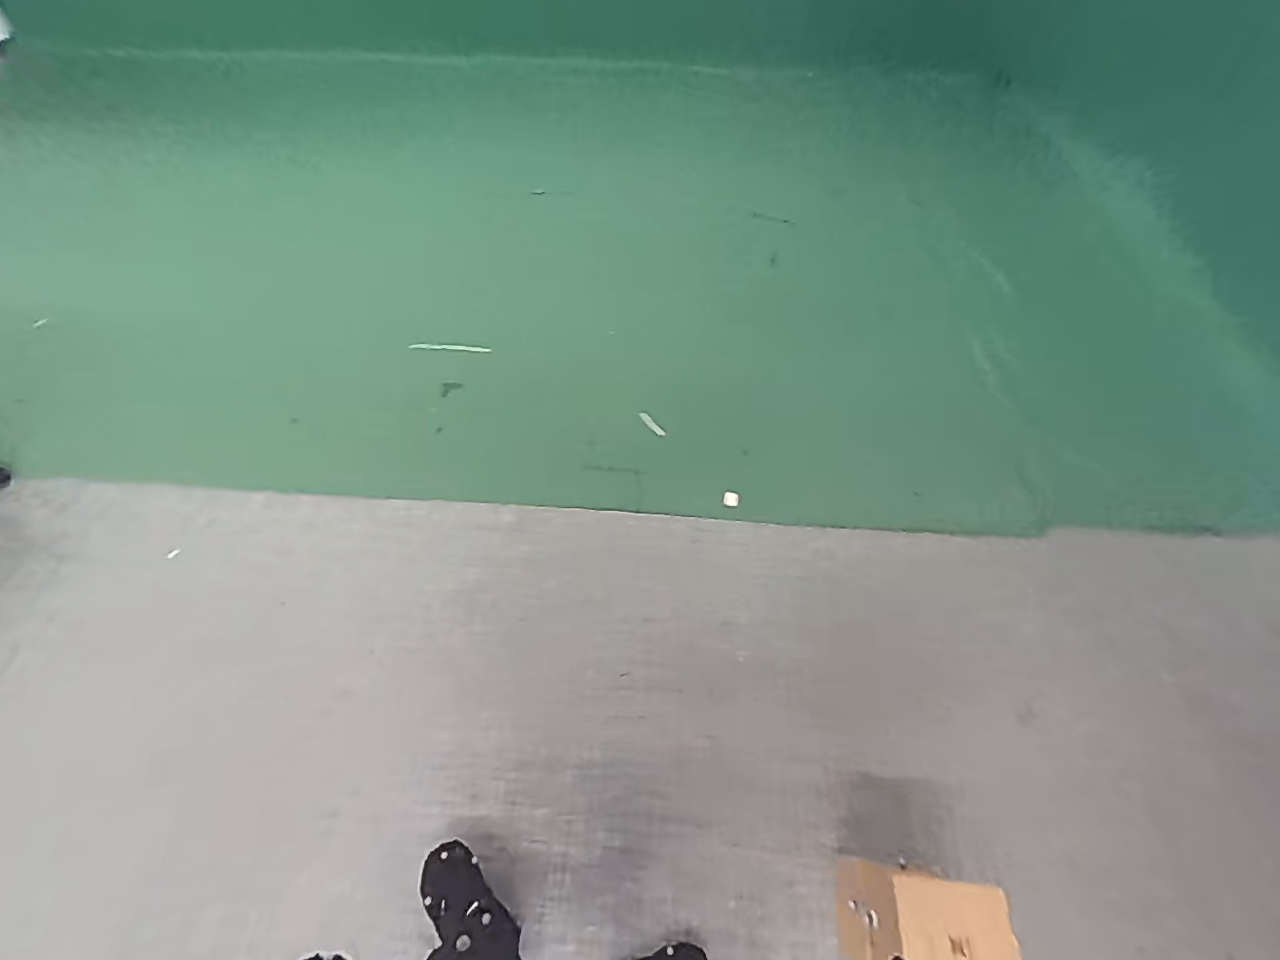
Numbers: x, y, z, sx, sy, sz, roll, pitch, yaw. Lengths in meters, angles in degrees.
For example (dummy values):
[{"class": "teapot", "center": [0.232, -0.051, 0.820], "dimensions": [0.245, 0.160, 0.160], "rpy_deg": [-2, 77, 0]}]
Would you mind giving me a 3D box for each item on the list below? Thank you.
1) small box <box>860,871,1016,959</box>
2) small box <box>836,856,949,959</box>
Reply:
[{"class": "small box", "center": [0.487, 0.757, 0.894], "dimensions": [0.179, 0.176, 0.168], "rpy_deg": [4, 55, 4]}, {"class": "small box", "center": [0.484, 0.836, 1.035], "dimensions": [0.168, 0.176, 0.179], "rpy_deg": [6, 57, 5]}]
